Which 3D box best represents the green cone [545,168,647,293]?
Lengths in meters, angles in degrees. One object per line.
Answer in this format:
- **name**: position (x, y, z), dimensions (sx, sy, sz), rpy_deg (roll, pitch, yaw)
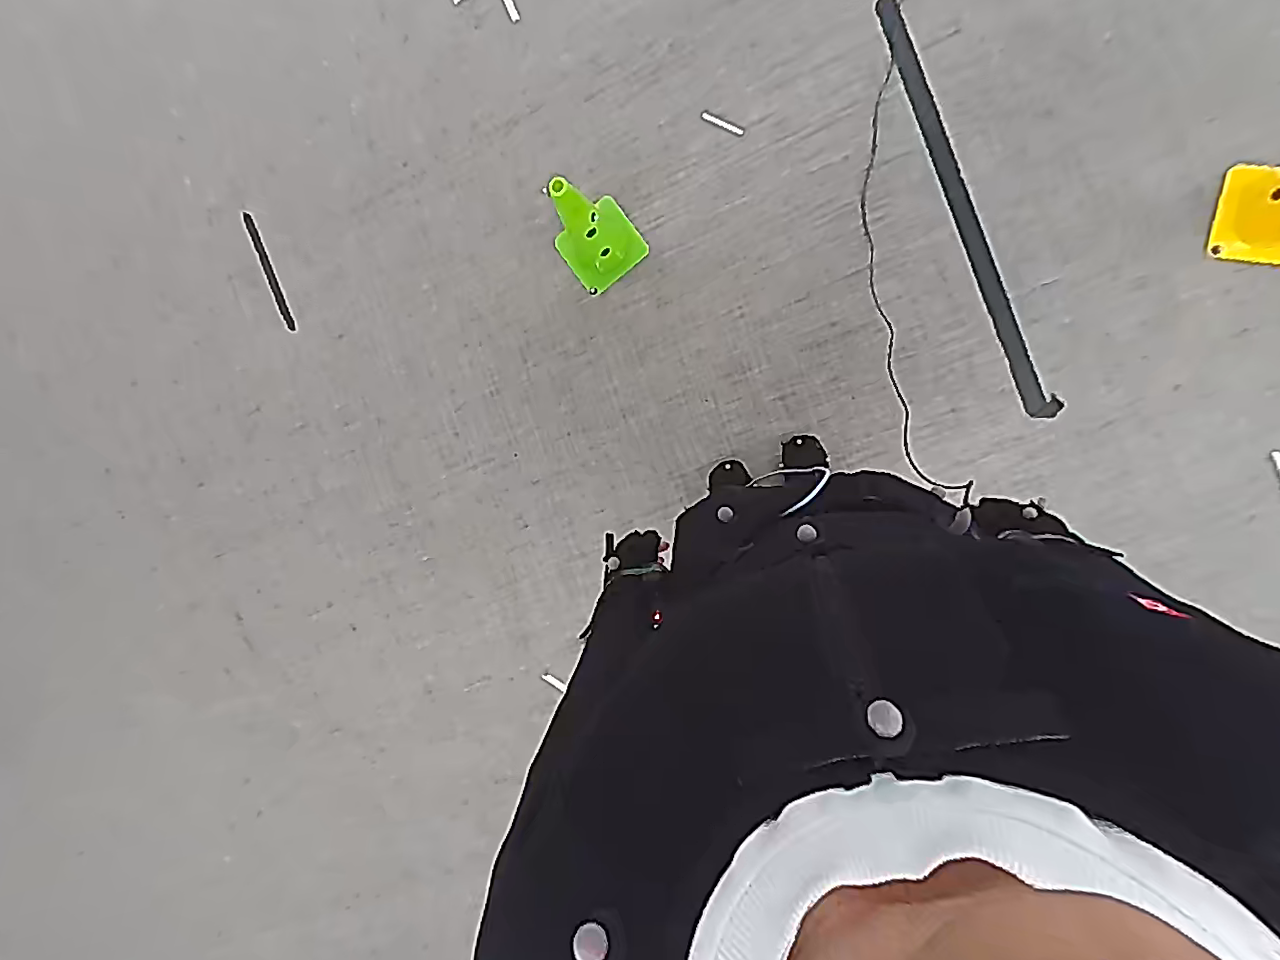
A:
- **green cone**: position (-0.138, -0.626, 1.285), dimensions (0.200, 0.368, 0.202), rpy_deg (-37, 85, 10)
